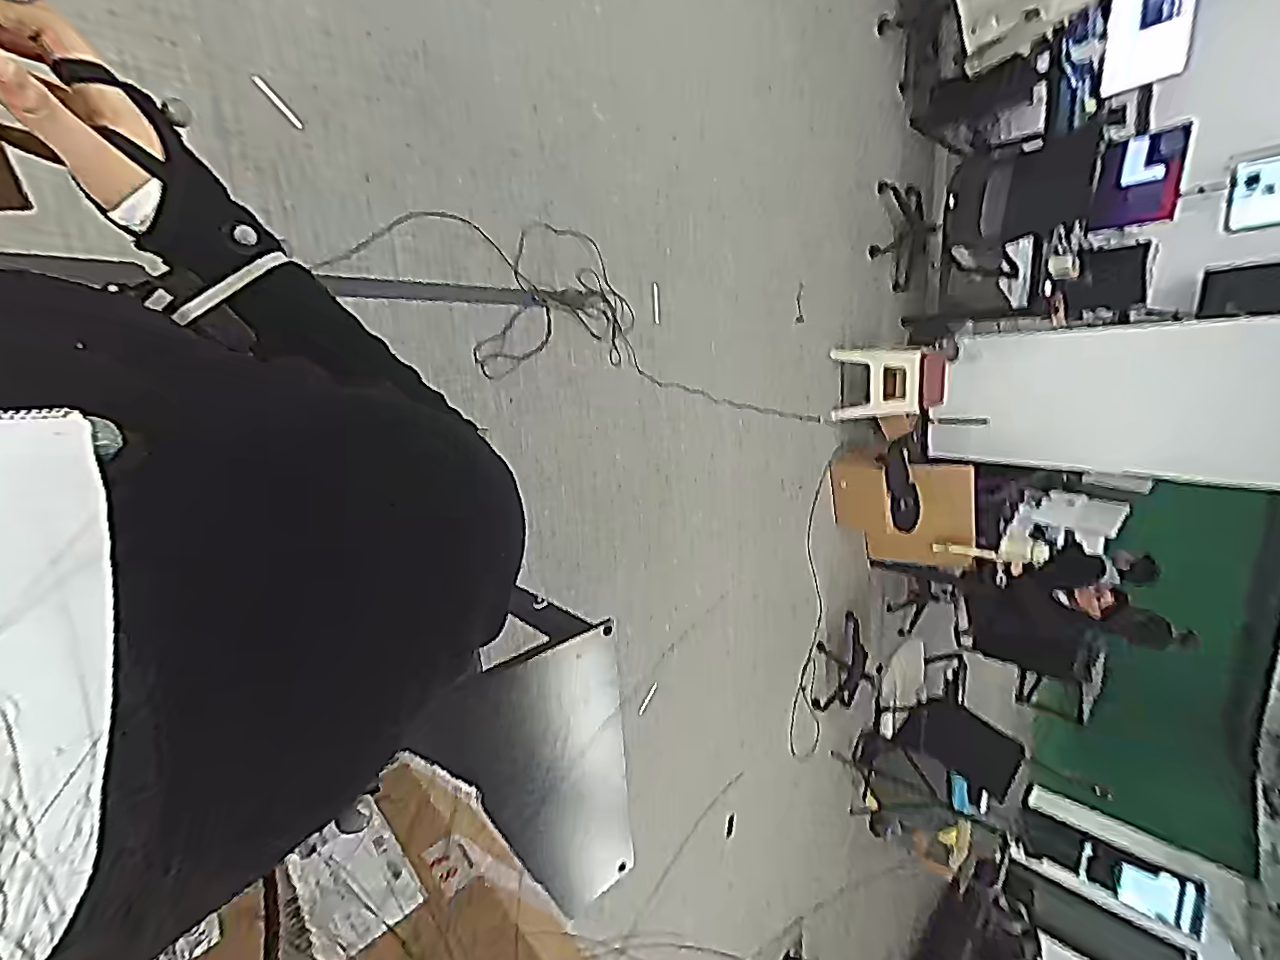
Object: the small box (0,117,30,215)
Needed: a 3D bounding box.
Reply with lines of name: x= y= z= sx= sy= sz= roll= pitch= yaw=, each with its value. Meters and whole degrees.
small box: x=-0.436 y=-0.243 z=0.238 sx=0.168 sy=0.176 sz=0.179 roll=-24 pitch=97 yaw=-37
